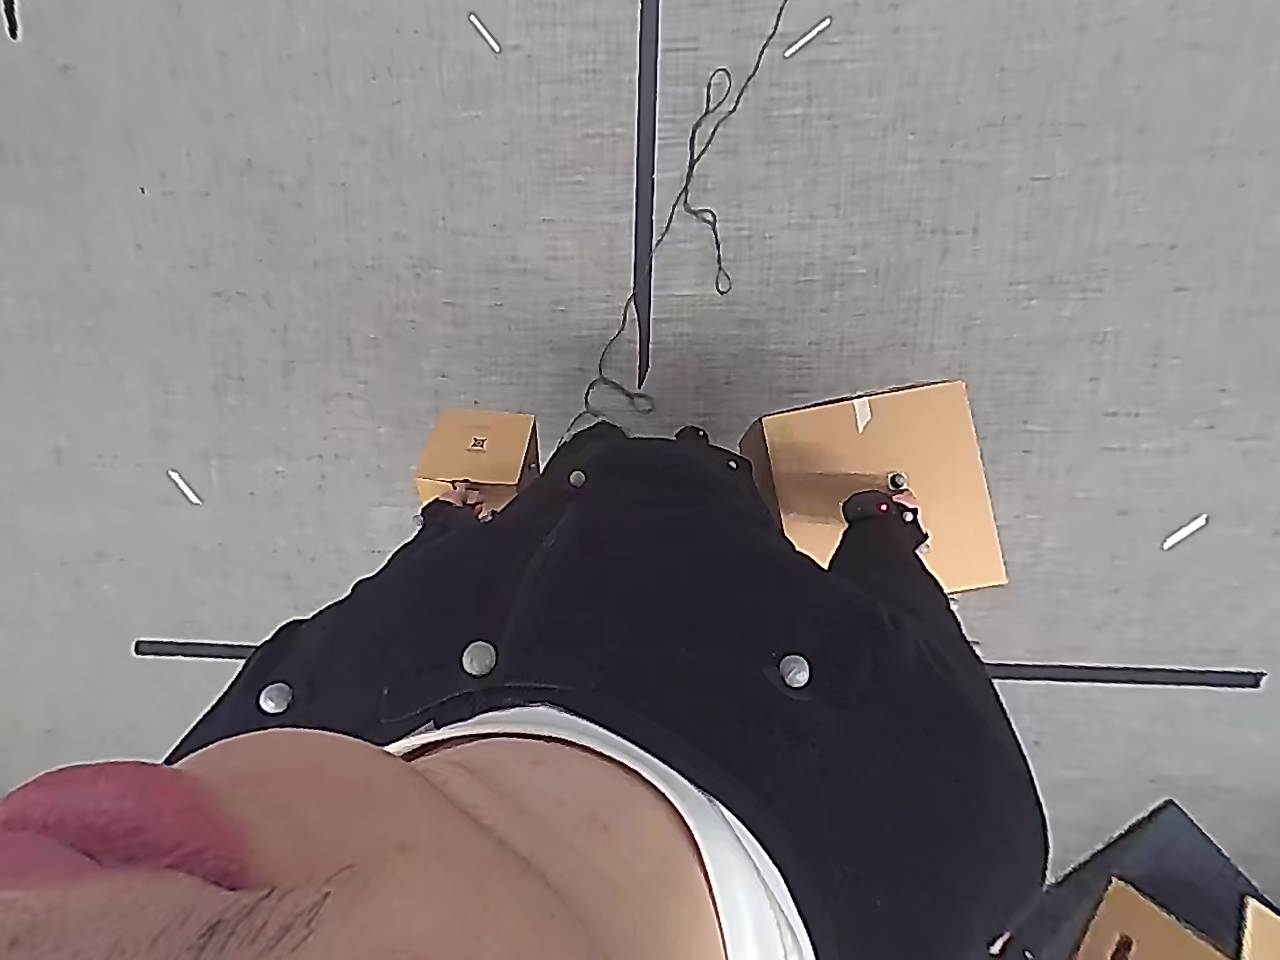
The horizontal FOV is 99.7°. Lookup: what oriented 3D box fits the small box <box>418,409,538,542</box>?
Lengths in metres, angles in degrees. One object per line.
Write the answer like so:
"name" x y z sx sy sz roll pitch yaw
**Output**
"small box" -0.281 -0.005 0.987 0.168 0.179 0.176 5 137 -3
